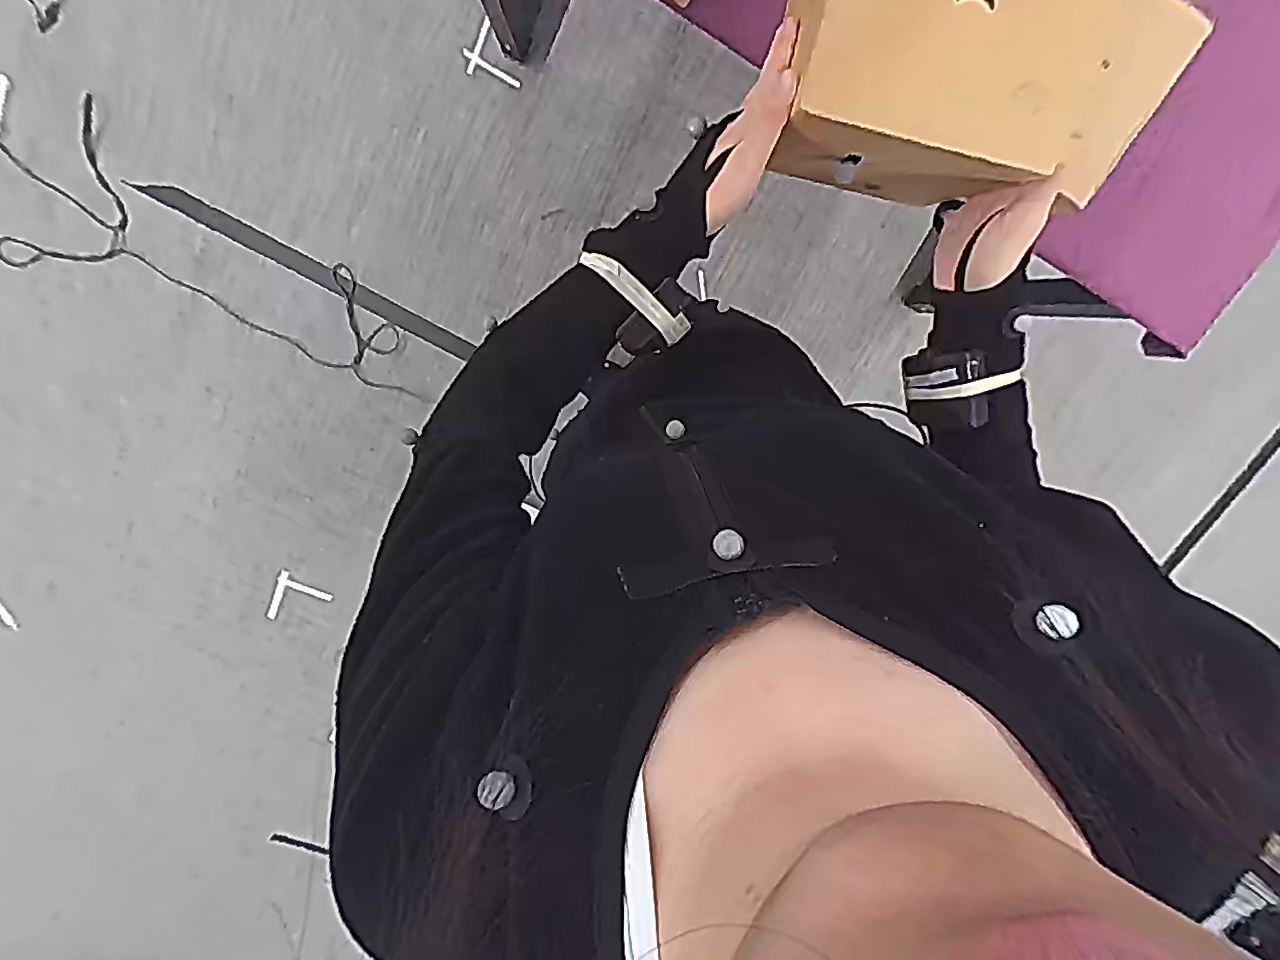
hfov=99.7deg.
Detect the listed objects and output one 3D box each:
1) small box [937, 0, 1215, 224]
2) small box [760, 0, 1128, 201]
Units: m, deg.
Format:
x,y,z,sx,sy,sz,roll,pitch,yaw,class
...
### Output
x,y,z,sx,sy,sz,roll,pitch,yaw,class
0.405,-0.400,0.569,0.168,0.176,0.179,27,106,-10,small box
0.191,-0.309,0.370,0.168,0.176,0.179,12,109,-3,small box
